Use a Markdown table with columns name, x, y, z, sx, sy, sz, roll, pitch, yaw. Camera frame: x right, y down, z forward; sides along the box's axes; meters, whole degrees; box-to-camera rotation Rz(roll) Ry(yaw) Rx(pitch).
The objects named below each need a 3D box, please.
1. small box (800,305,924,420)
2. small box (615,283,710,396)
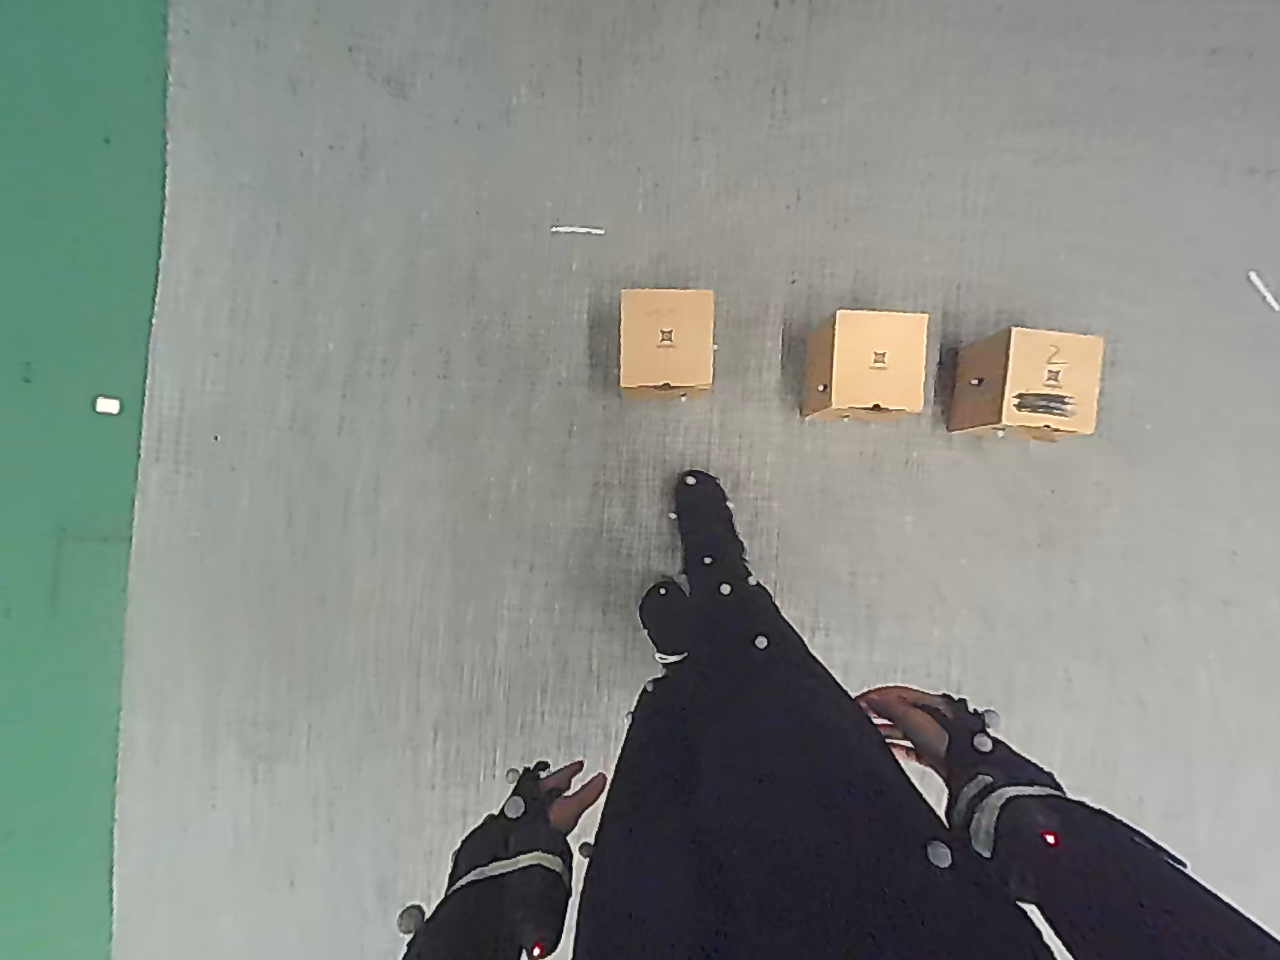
| name | x | y | z | sx | sy | sz | roll | pitch | yaw |
| --- | --- | --- | --- | --- | --- | --- | --- | --- | --- |
| small box | 0.412 | -0.215 | 1.027 | 0.168 | 0.176 | 0.179 | 3 | 90 | -1 |
| small box | 0.039 | -0.256 | 1.025 | 0.168 | 0.176 | 0.179 | 1 | 89 | -1 |
